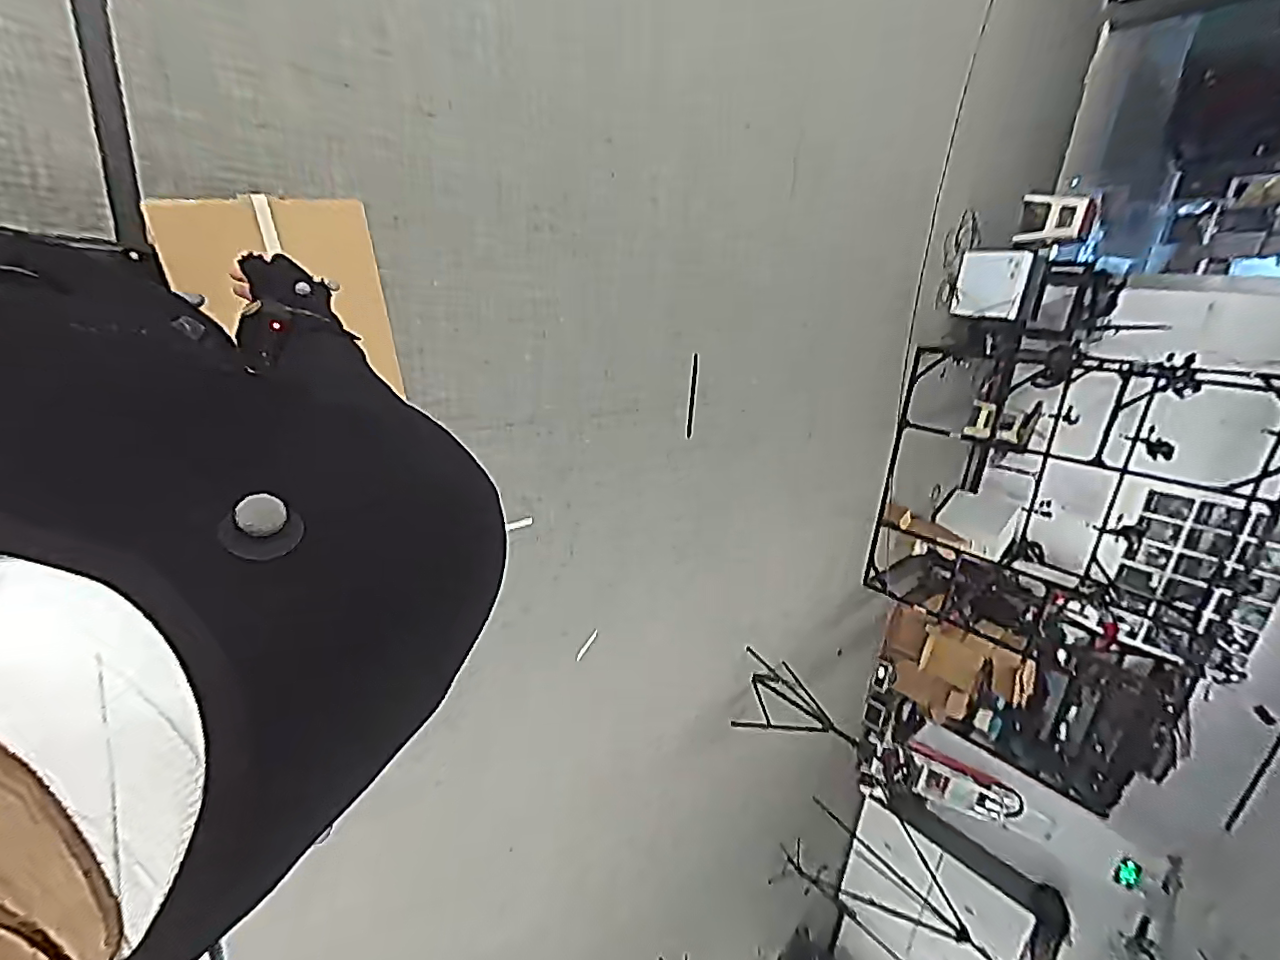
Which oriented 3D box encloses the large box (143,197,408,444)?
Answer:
[{"bbox_3d":[-0.704,-0.332,1.081,0.320,0.320,0.408,-18,119,-31],"label":"large box"}]
